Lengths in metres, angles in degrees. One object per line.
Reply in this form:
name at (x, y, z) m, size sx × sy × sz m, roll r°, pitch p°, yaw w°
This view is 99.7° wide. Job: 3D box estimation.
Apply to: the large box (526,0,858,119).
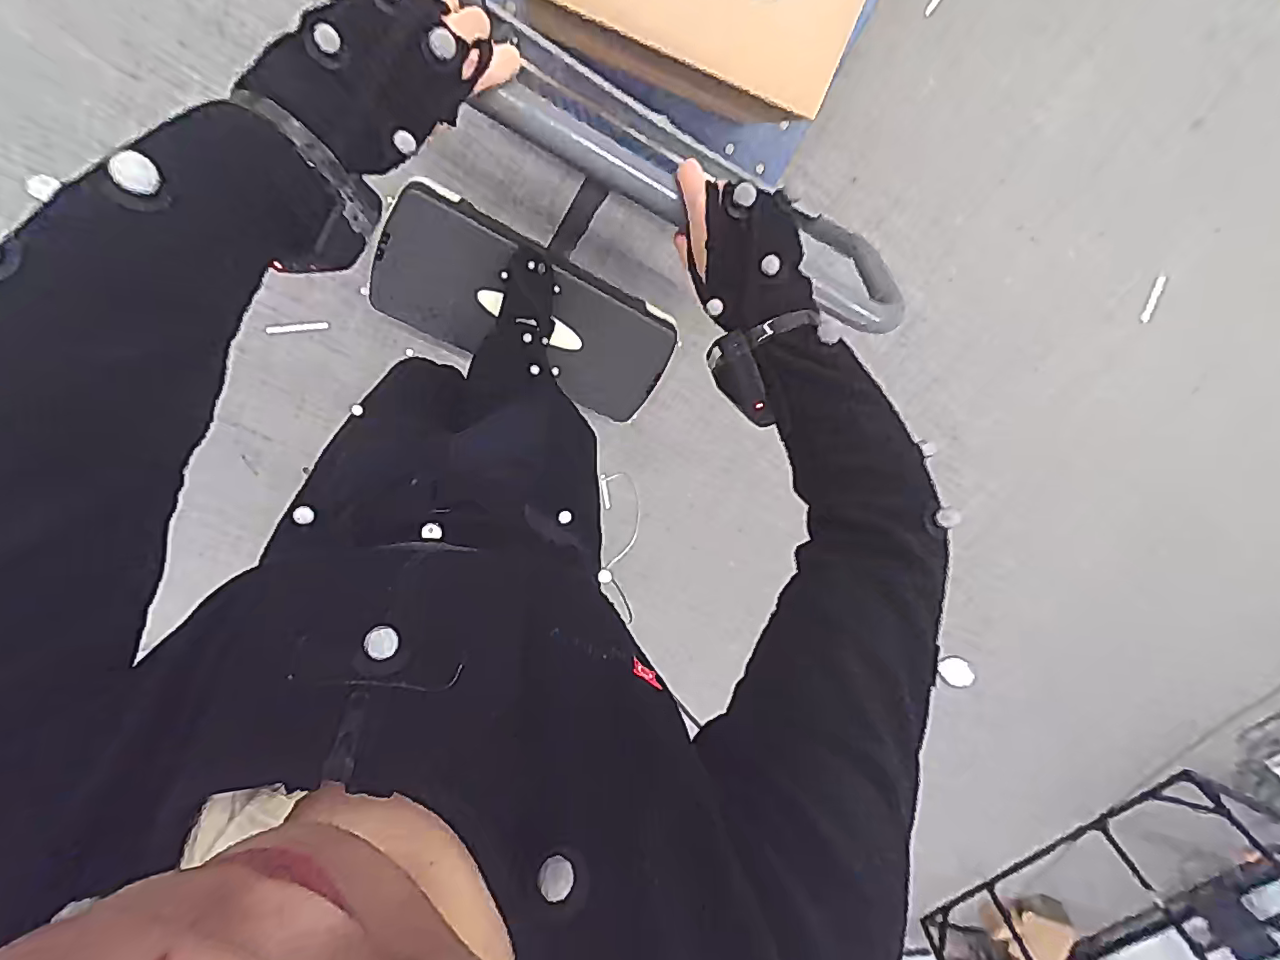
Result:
large box at (0.073, -0.737, 0.732) m, size 0.408 × 0.320 × 0.320 m, roll 12°, pitch 120°, yaw -17°
